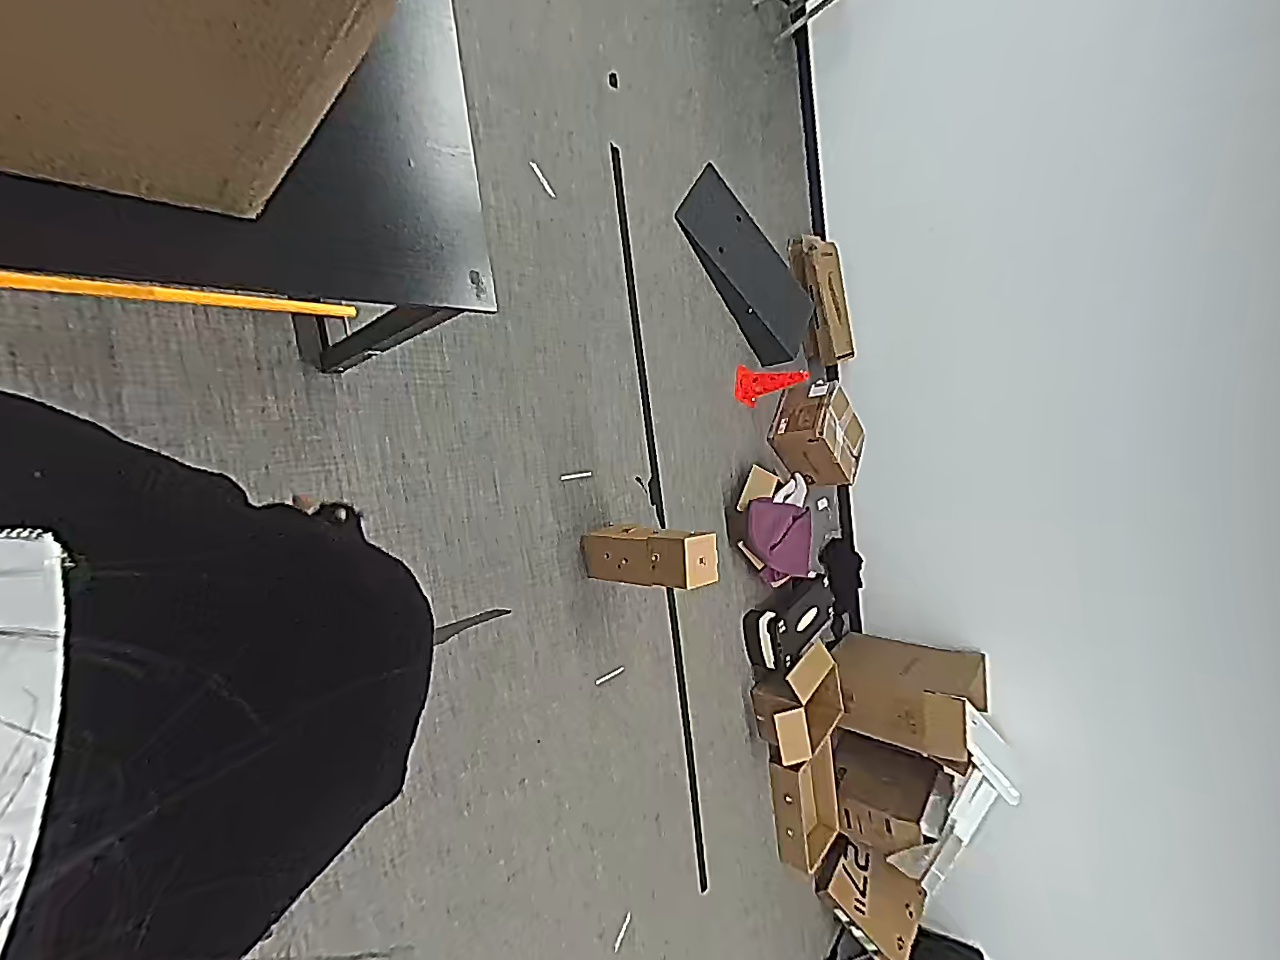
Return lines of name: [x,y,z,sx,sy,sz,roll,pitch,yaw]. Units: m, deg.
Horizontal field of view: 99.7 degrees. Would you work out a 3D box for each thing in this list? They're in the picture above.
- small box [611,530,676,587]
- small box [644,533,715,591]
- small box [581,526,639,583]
small box: [0.018,0.275,1.935,0.179,0.176,0.168,-11,96,-47]
small box: [0.133,0.270,1.820,0.179,0.176,0.168,-3,90,-47]
small box: [-0.105,0.275,2.045,0.168,0.176,0.179,-17,101,-47]
